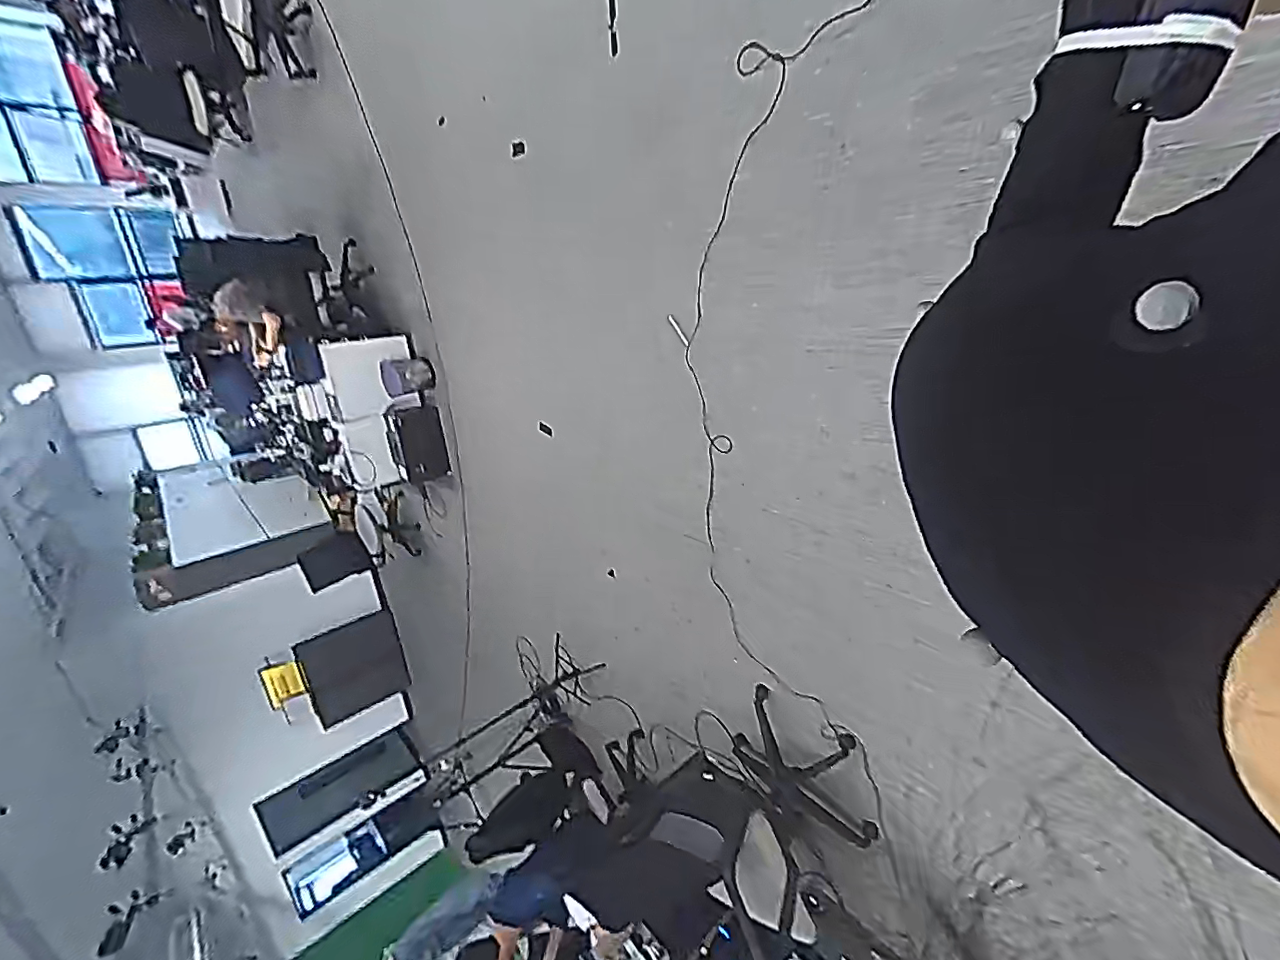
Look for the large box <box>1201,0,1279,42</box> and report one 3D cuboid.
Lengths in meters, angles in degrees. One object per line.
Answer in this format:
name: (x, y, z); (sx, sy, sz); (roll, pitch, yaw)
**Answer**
large box: (0.563, -0.420, 0.217); (0.408, 0.320, 0.320); (25, 131, 38)
